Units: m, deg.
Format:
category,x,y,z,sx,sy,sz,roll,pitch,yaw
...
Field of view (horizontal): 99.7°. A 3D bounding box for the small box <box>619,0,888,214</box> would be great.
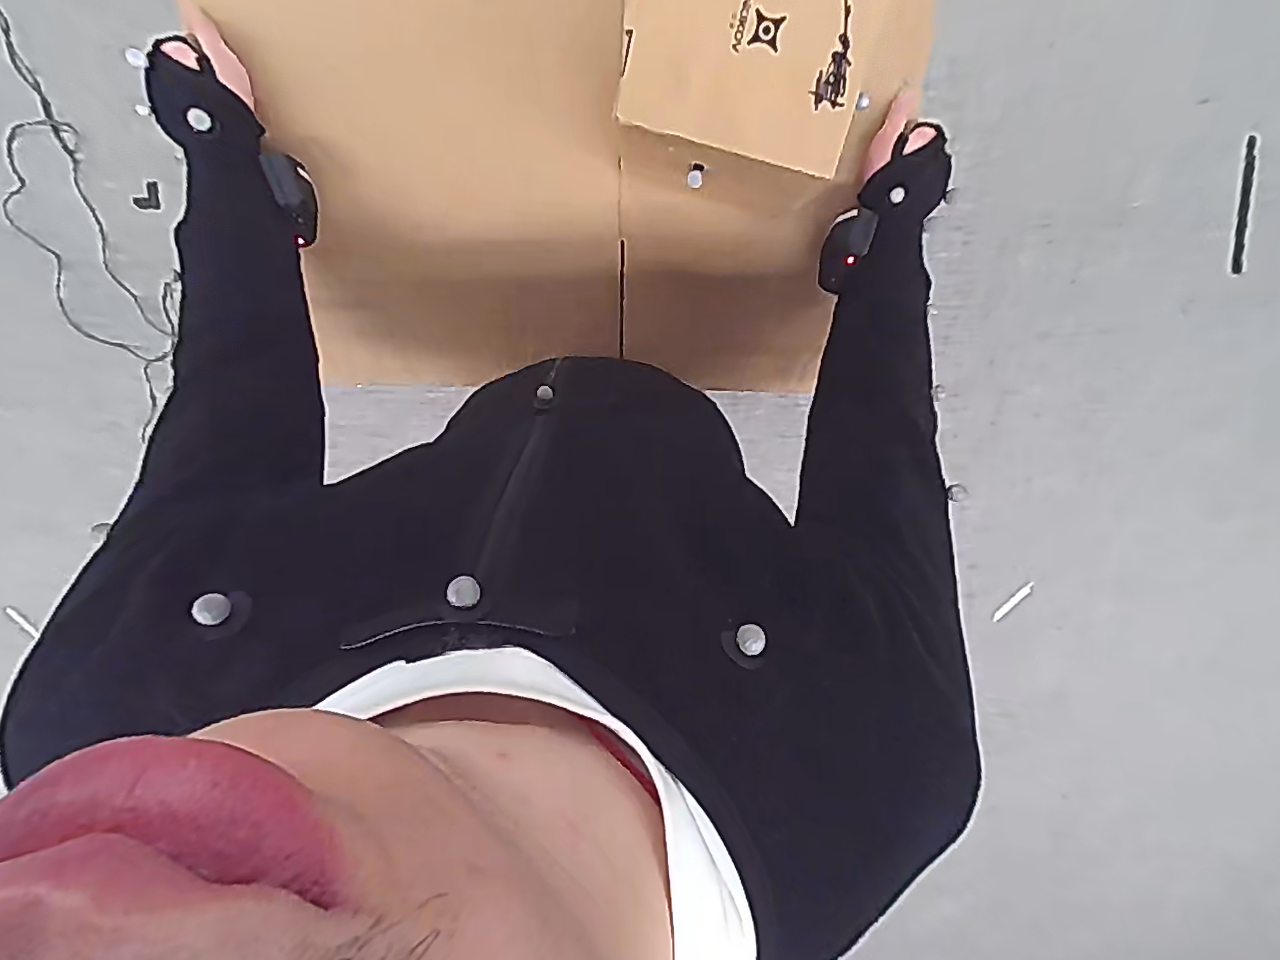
category,x,y,z,sx,sy,sz,roll,pitch,yaw
small box,0.090,-0.353,0.476,0.179,0.176,0.168,14,105,-1
